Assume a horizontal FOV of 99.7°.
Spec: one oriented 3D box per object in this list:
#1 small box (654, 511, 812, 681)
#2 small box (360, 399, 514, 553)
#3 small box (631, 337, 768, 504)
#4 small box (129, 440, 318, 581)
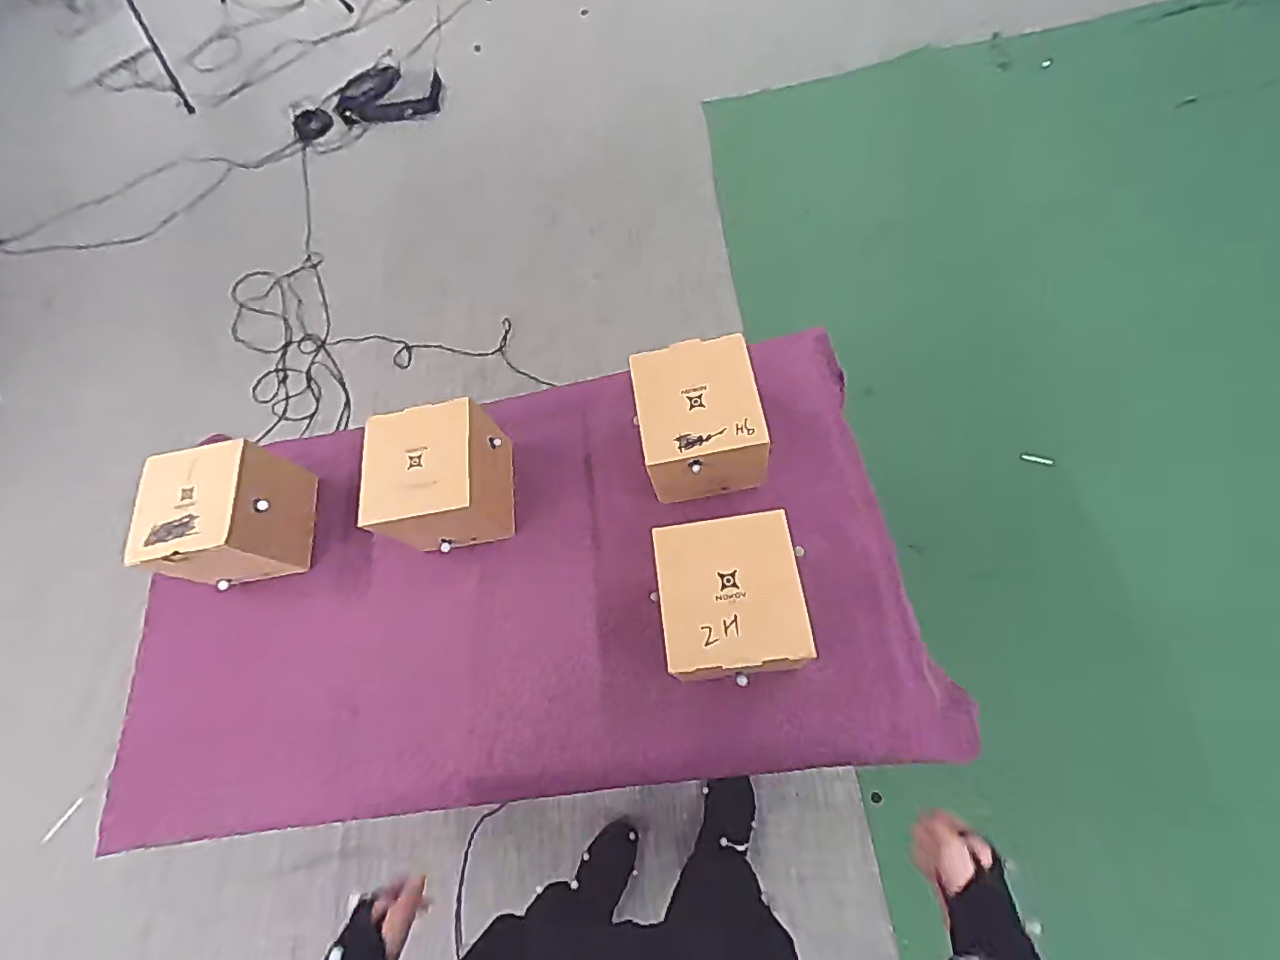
[{"bbox_3d":[0.115,0.158,0.705,0.168,0.176,0.179,-9,66,7],"label":"small box"},{"bbox_3d":[-0.304,0.001,0.845,0.168,0.176,0.179,-10,68,6],"label":"small box"},{"bbox_3d":[0.088,-0.081,0.809,0.168,0.176,0.179,-11,67,6],"label":"small box"},{"bbox_3d":[-0.657,0.059,0.878,0.168,0.176,0.179,-11,66,5],"label":"small box"}]
